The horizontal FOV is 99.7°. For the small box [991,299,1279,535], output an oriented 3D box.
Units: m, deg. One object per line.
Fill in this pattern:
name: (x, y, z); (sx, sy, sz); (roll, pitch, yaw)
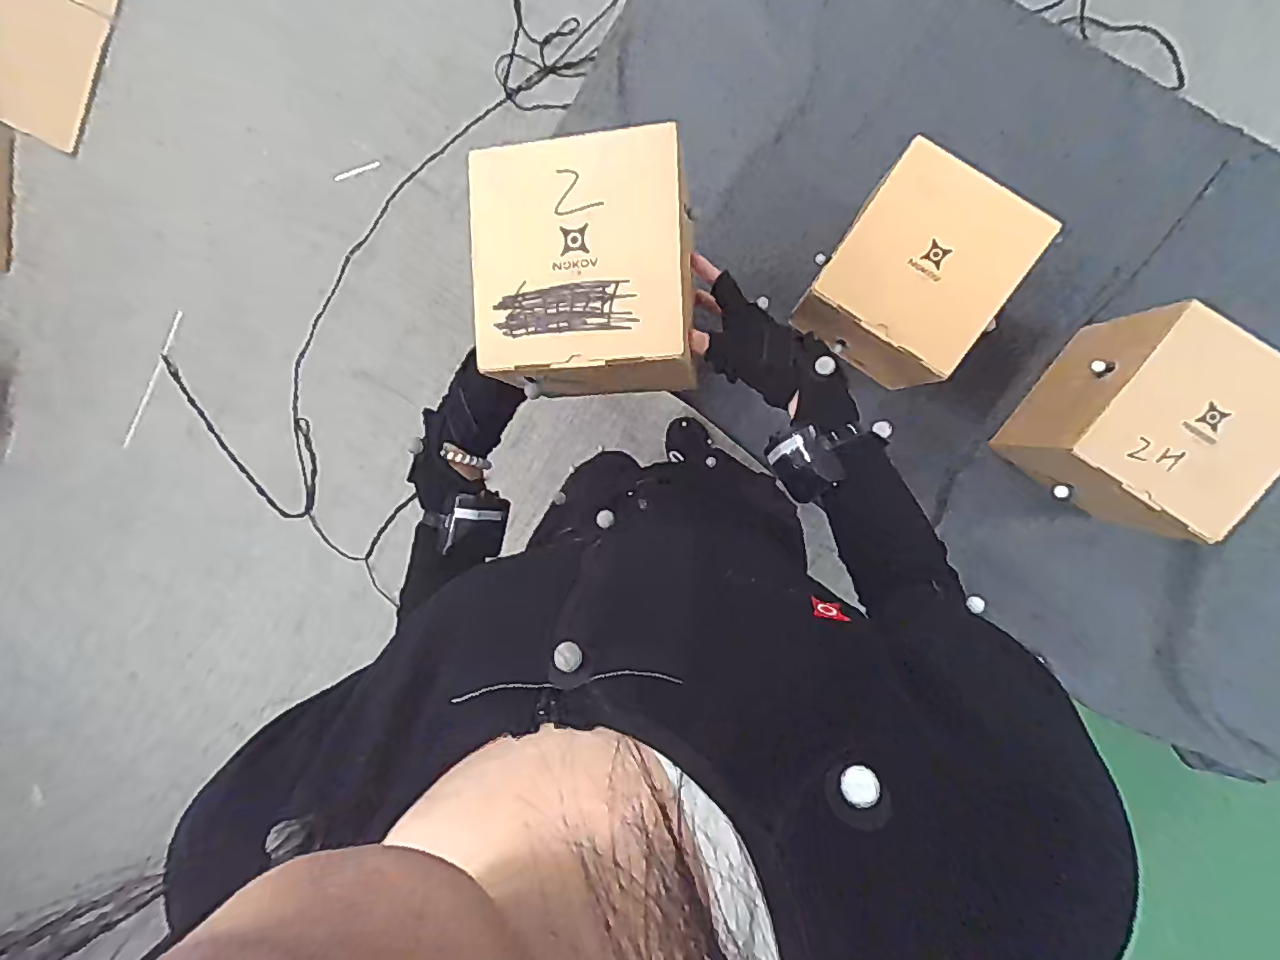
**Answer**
small box: (0.547, -0.068, 0.605); (0.168, 0.176, 0.179); (34, 99, 2)

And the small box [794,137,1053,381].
small box: (0.297, -0.231, 0.617); (0.168, 0.176, 0.179); (33, 99, 1)
